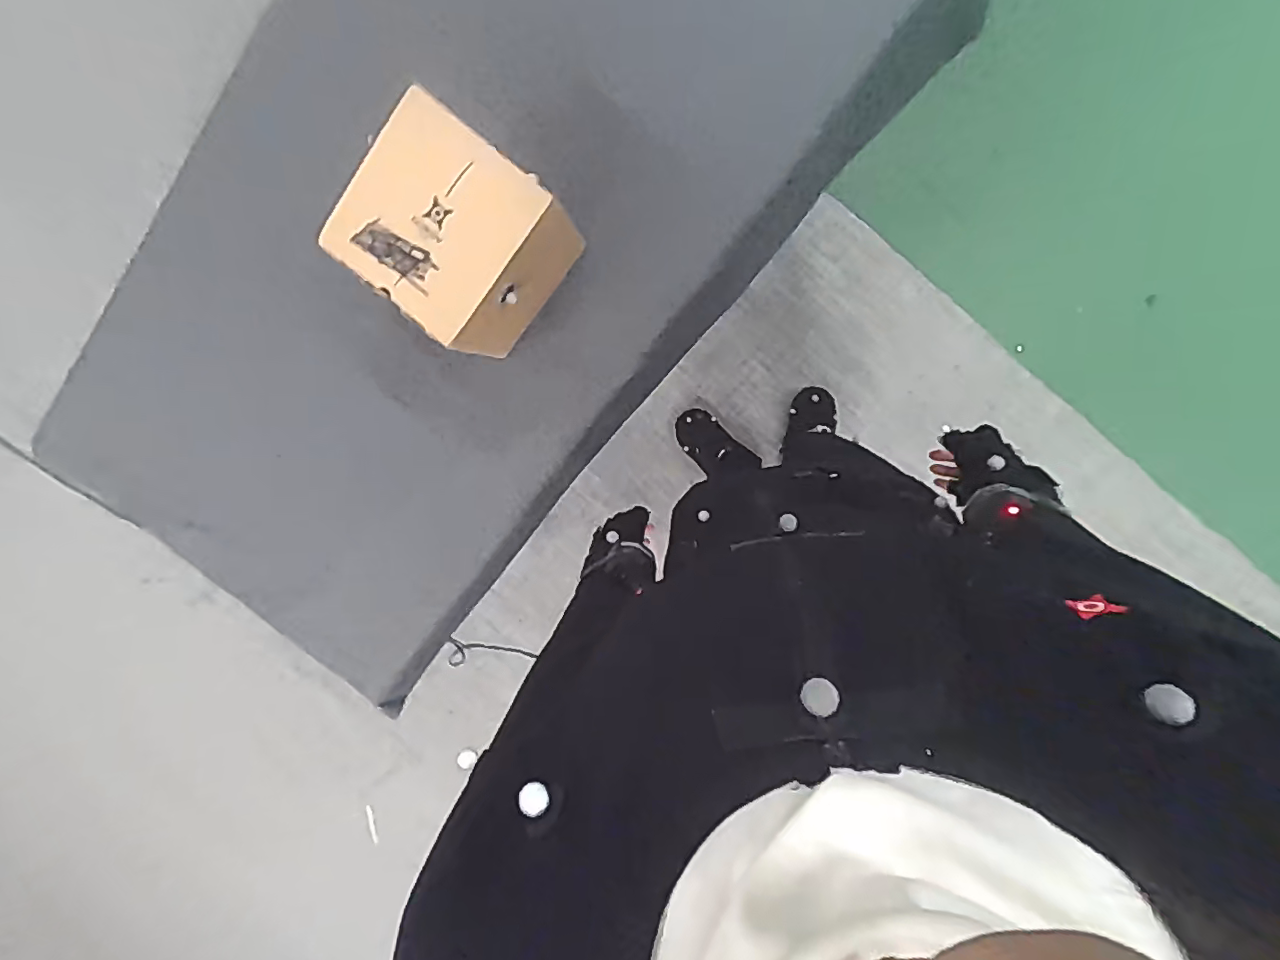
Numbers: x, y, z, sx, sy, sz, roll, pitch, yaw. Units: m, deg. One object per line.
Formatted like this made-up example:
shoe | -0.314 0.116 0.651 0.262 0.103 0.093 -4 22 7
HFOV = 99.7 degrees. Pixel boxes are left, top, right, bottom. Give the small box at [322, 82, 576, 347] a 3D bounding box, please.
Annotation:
small box | -0.191 -0.265 0.595 0.168 0.176 0.179 39 100 -2
